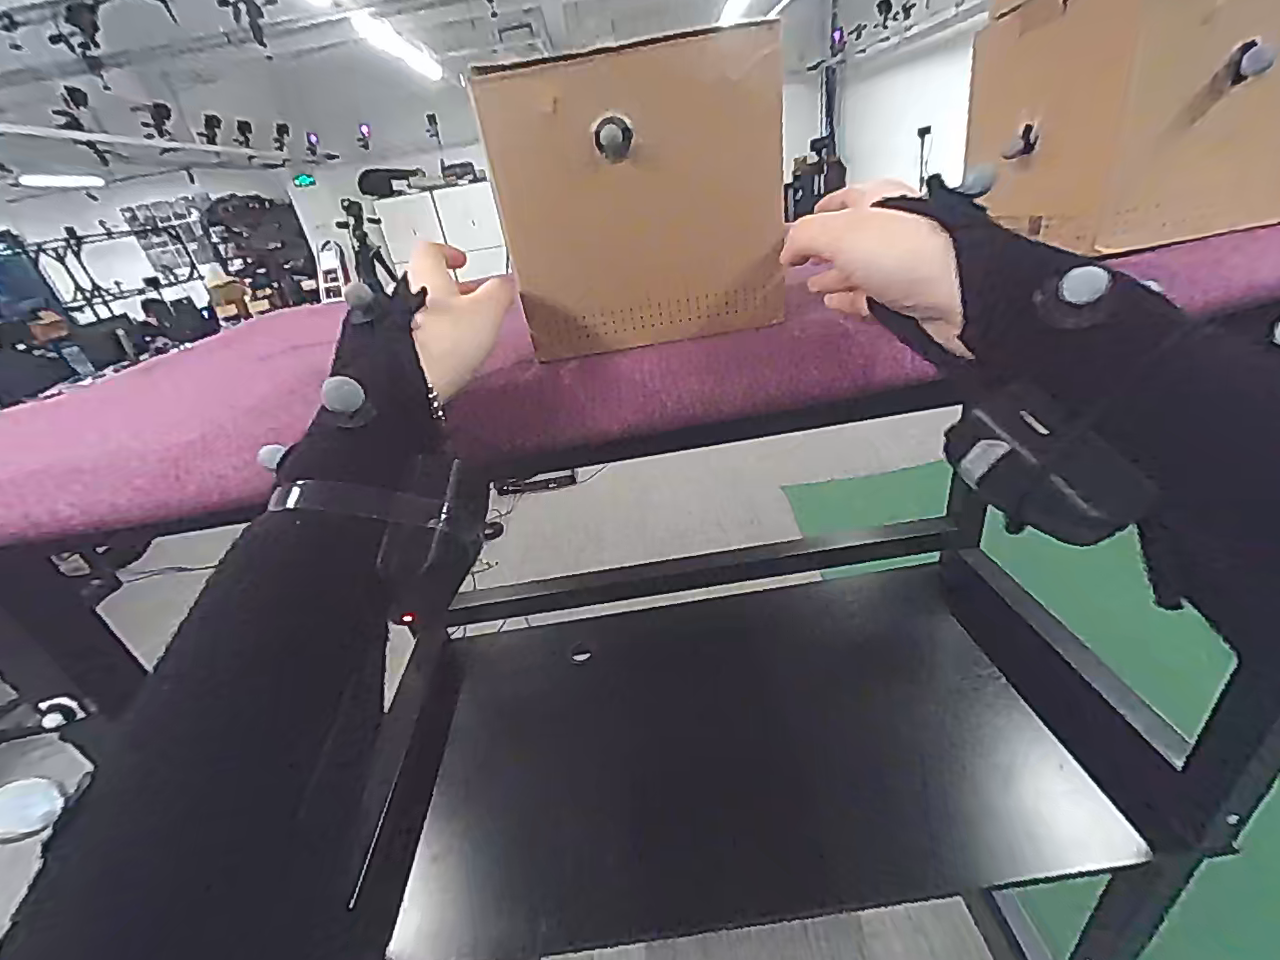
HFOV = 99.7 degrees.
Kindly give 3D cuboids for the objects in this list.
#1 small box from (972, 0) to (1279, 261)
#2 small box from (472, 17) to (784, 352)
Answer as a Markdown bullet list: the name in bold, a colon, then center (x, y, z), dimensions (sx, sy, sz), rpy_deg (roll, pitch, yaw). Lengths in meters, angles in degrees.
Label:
- **small box**: center (0.375, -0.269, 0.400), dimensions (0.179, 0.176, 0.168), rpy_deg (-10, 27, 3)
- **small box**: center (0.001, -0.202, 0.402), dimensions (0.179, 0.176, 0.168), rpy_deg (-8, 30, 2)
